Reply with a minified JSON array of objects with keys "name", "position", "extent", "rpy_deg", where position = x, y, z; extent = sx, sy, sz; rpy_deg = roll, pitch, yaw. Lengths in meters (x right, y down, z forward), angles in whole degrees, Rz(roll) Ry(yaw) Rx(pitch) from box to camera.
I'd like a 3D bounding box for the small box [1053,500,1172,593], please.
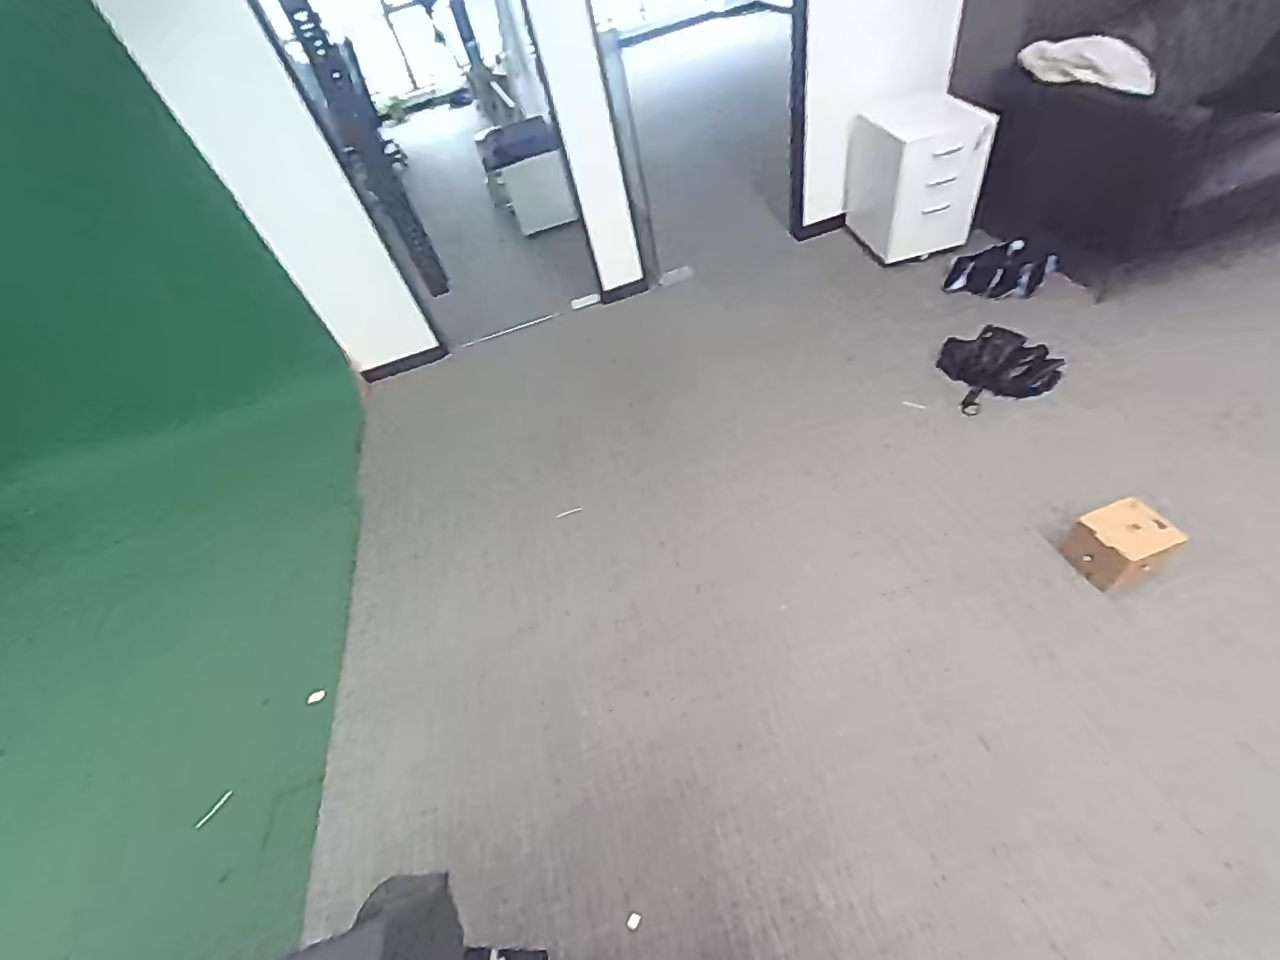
[{"name":"small box","position":[1.324,0.193,1.536],"extent":[0.179,0.176,0.168],"rpy_deg":[-21,47,-4]}]
